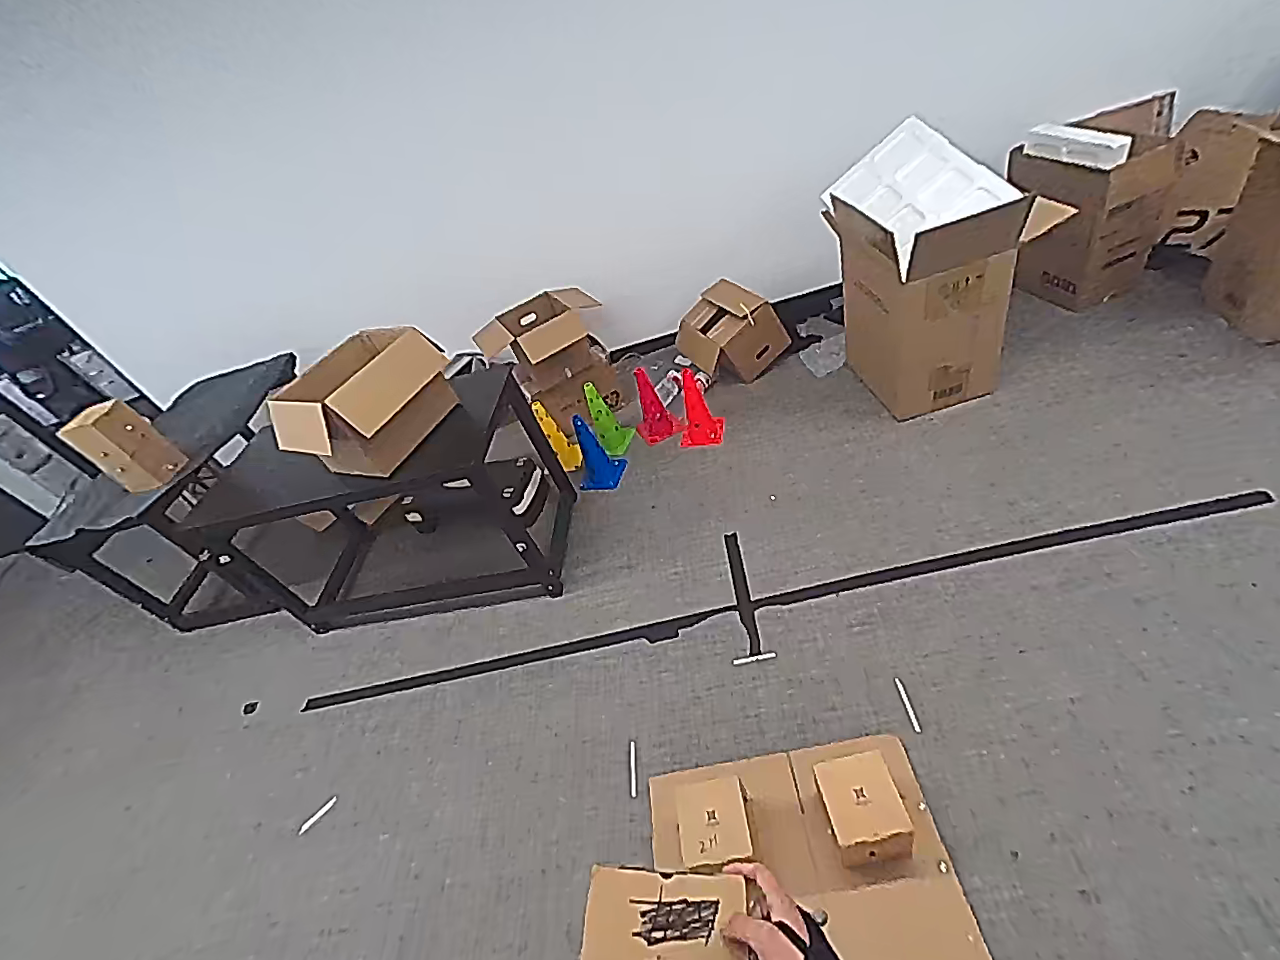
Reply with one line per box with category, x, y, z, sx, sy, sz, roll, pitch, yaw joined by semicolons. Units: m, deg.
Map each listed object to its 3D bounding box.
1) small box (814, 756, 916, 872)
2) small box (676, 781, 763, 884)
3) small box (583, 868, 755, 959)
small box;0.524;0.789;1.276;0.168;0.176;0.179;-18;40;5
small box;0.194;0.872;1.324;0.168;0.176;0.179;-16;41;9
small box;0.035;0.531;0.559;0.168;0.176;0.179;-4;44;11
